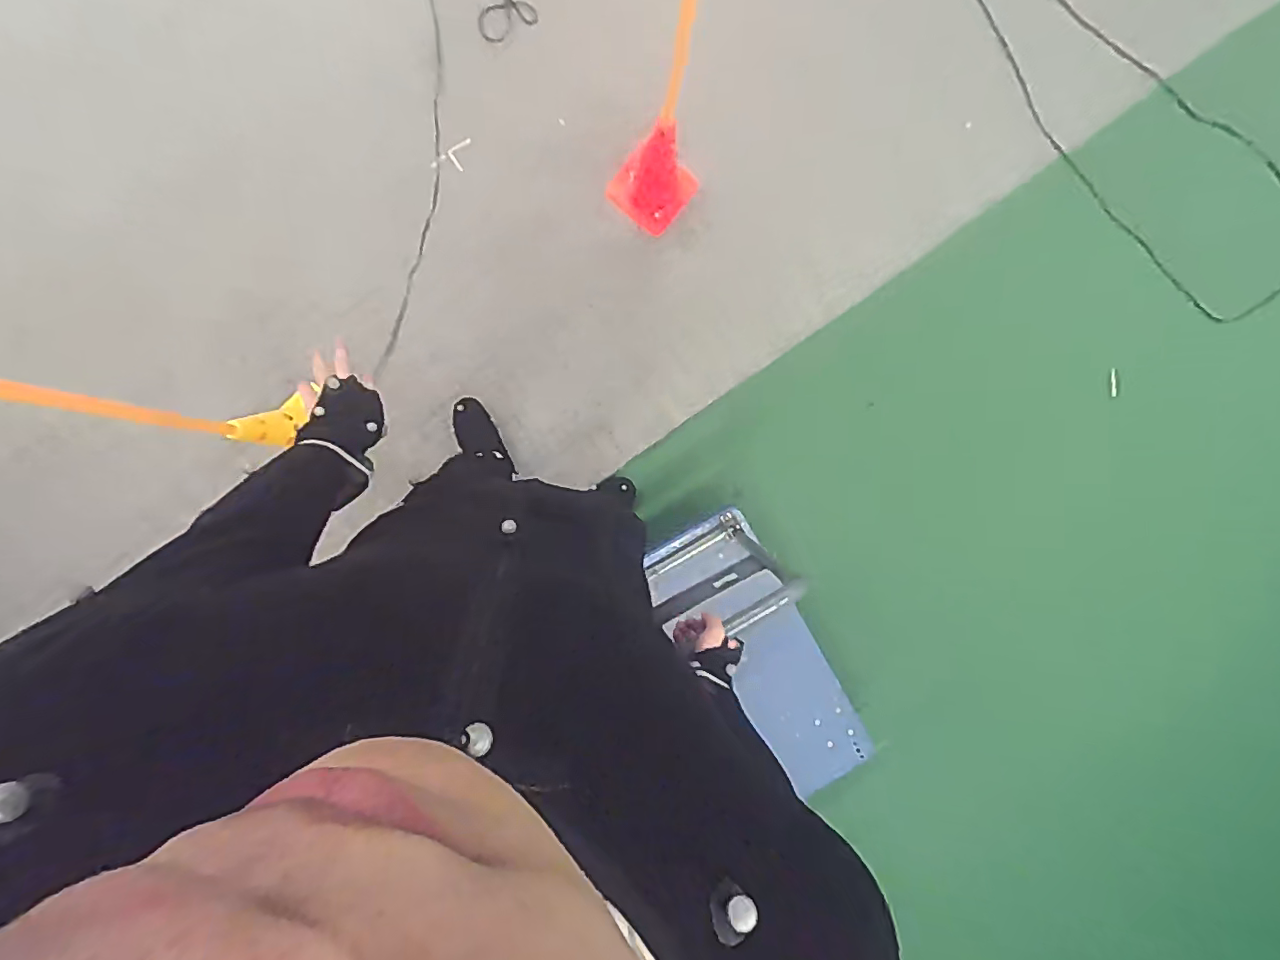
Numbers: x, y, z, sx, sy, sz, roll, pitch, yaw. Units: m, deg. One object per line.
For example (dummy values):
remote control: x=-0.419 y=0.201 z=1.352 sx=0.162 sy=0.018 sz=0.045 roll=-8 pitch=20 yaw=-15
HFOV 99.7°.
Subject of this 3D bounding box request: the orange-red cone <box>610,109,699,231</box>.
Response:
orange-red cone: x=0.058 y=-0.817 z=1.360 sx=0.198 sy=0.360 sz=0.199 roll=40 pitch=91 yaw=-8
